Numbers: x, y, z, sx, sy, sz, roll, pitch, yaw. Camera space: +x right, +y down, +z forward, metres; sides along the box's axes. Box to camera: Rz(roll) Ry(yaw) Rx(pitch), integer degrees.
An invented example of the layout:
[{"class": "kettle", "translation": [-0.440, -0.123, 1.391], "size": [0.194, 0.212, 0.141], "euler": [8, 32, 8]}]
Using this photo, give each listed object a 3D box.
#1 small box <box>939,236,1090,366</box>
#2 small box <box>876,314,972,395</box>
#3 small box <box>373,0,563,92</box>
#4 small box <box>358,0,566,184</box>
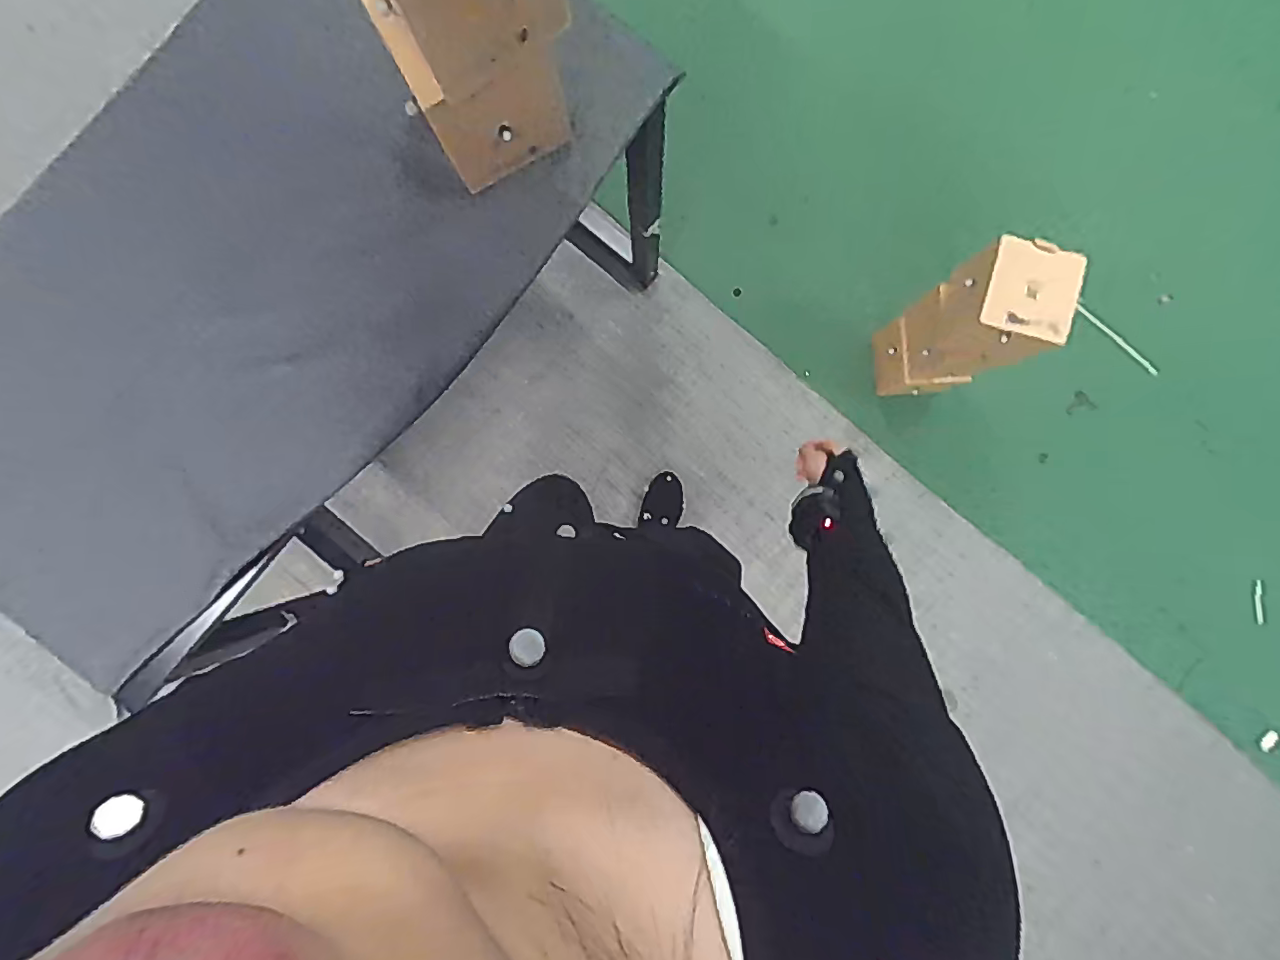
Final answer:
[{"class": "small box", "translation": [0.733, -0.347, 1.078], "size": [0.168, 0.176, 0.179], "euler": [16, 89, 1]}, {"class": "small box", "translation": [0.731, -0.320, 1.406], "size": [0.168, 0.176, 0.179], "euler": [-3, 88, 1]}, {"class": "small box", "translation": [-0.194, -0.527, 0.523], "size": [0.168, 0.176, 0.179], "euler": [-34, 86, -1]}, {"class": "small box", "translation": [-0.211, -0.514, 0.685], "size": [0.168, 0.176, 0.179], "euler": [-29, 86, 0]}]
